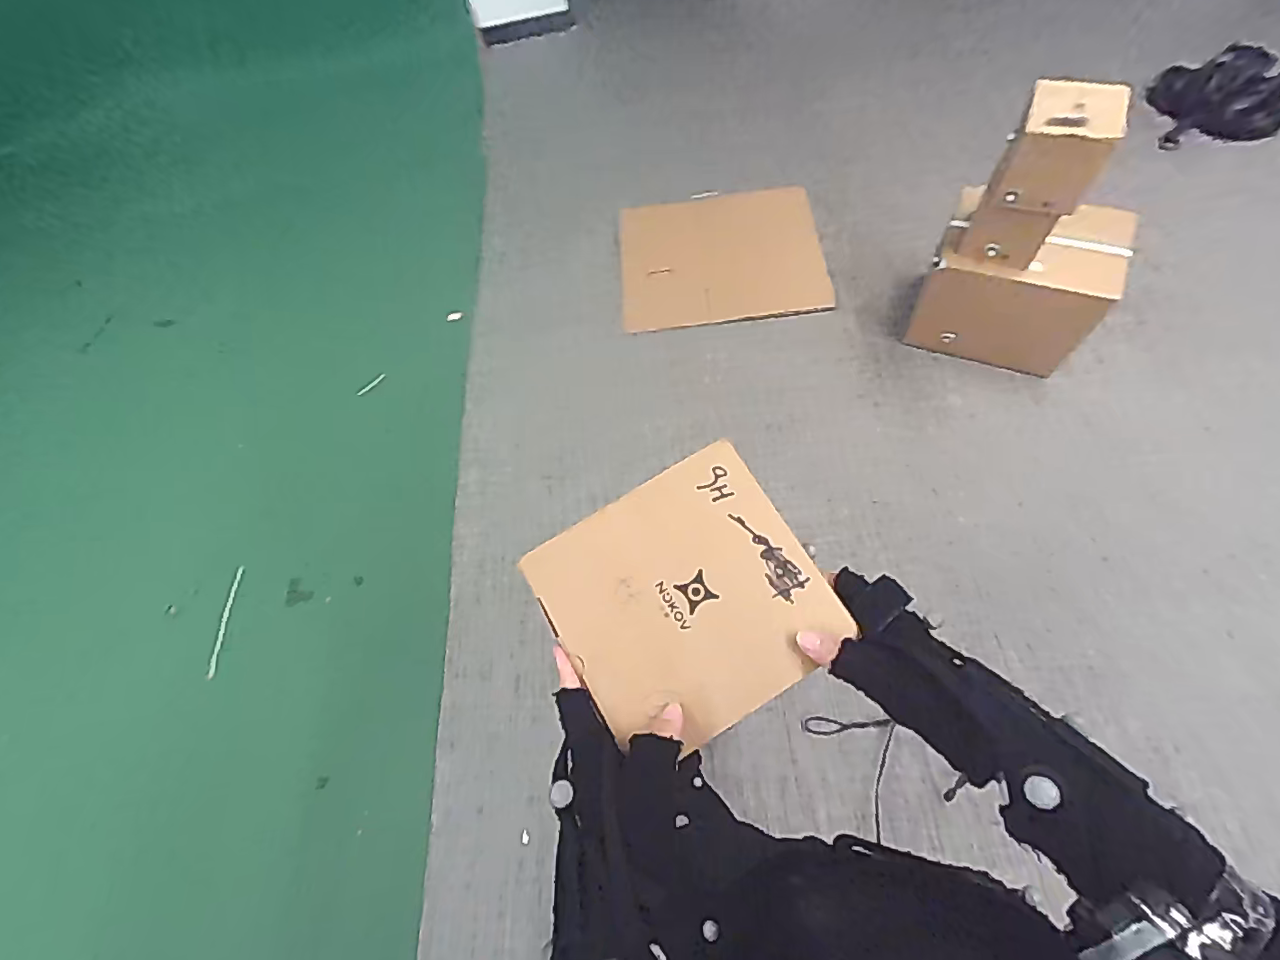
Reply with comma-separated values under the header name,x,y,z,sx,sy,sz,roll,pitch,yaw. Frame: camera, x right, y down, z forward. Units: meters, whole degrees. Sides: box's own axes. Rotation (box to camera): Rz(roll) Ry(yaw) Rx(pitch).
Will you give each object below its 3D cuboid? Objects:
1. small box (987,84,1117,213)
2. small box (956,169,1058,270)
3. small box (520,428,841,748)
name,x,y,z,sx,sy,sz,roll,pitch,yaw
small box,0.869,-0.703,1.154,0.168,0.176,0.179,15,69,16
small box,0.896,-0.646,1.307,0.168,0.176,0.179,23,72,19
small box,0.031,0.092,0.457,0.179,0.176,0.168,-32,73,-7
